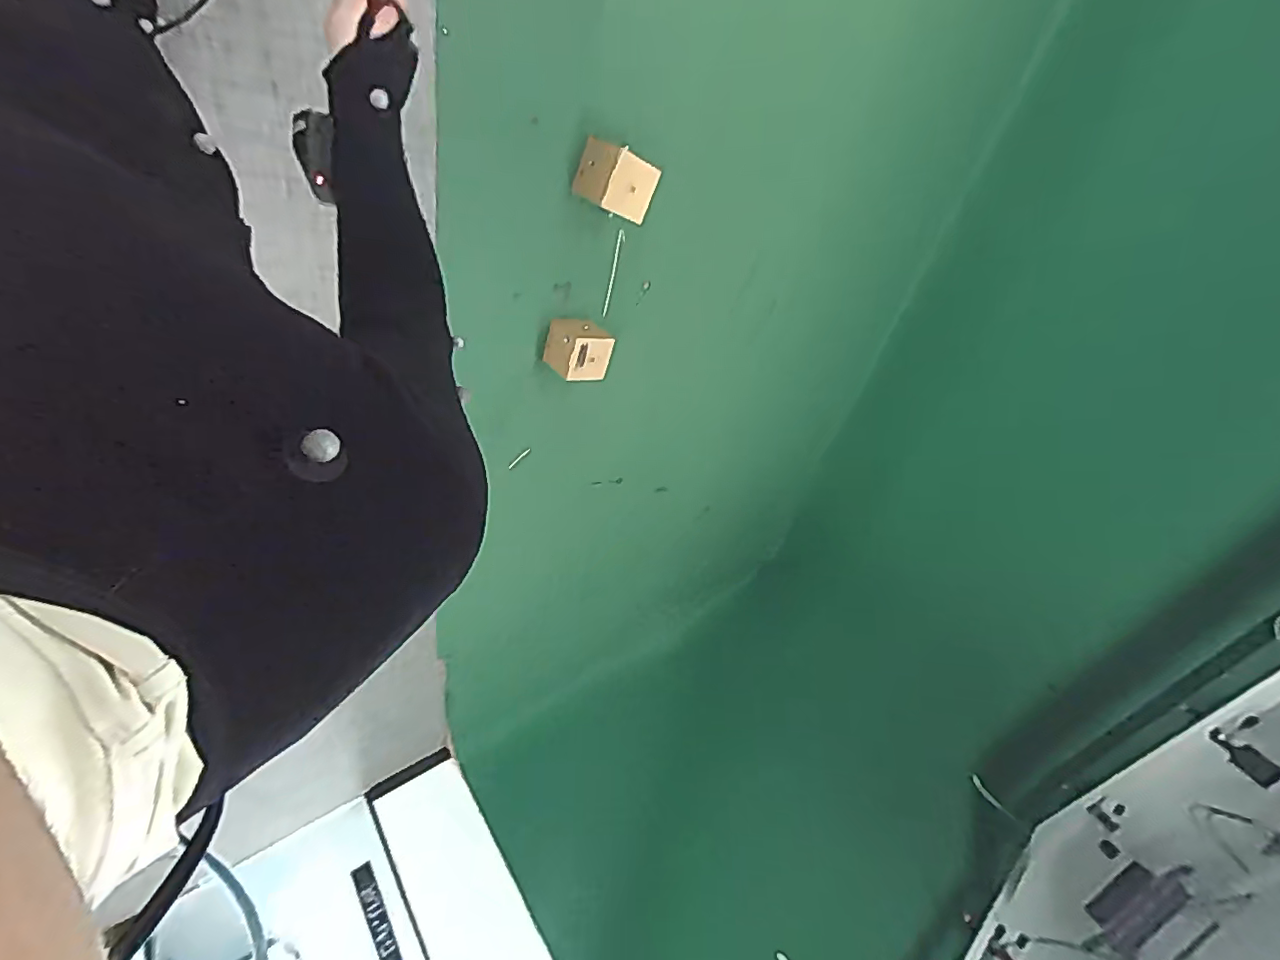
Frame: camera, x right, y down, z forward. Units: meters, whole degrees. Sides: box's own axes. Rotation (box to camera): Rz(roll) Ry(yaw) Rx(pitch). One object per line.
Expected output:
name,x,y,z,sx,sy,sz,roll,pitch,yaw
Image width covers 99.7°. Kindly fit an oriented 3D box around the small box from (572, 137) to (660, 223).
small box,-0.078,-0.937,1.686,0.179,0.176,0.168,-1,126,-46
